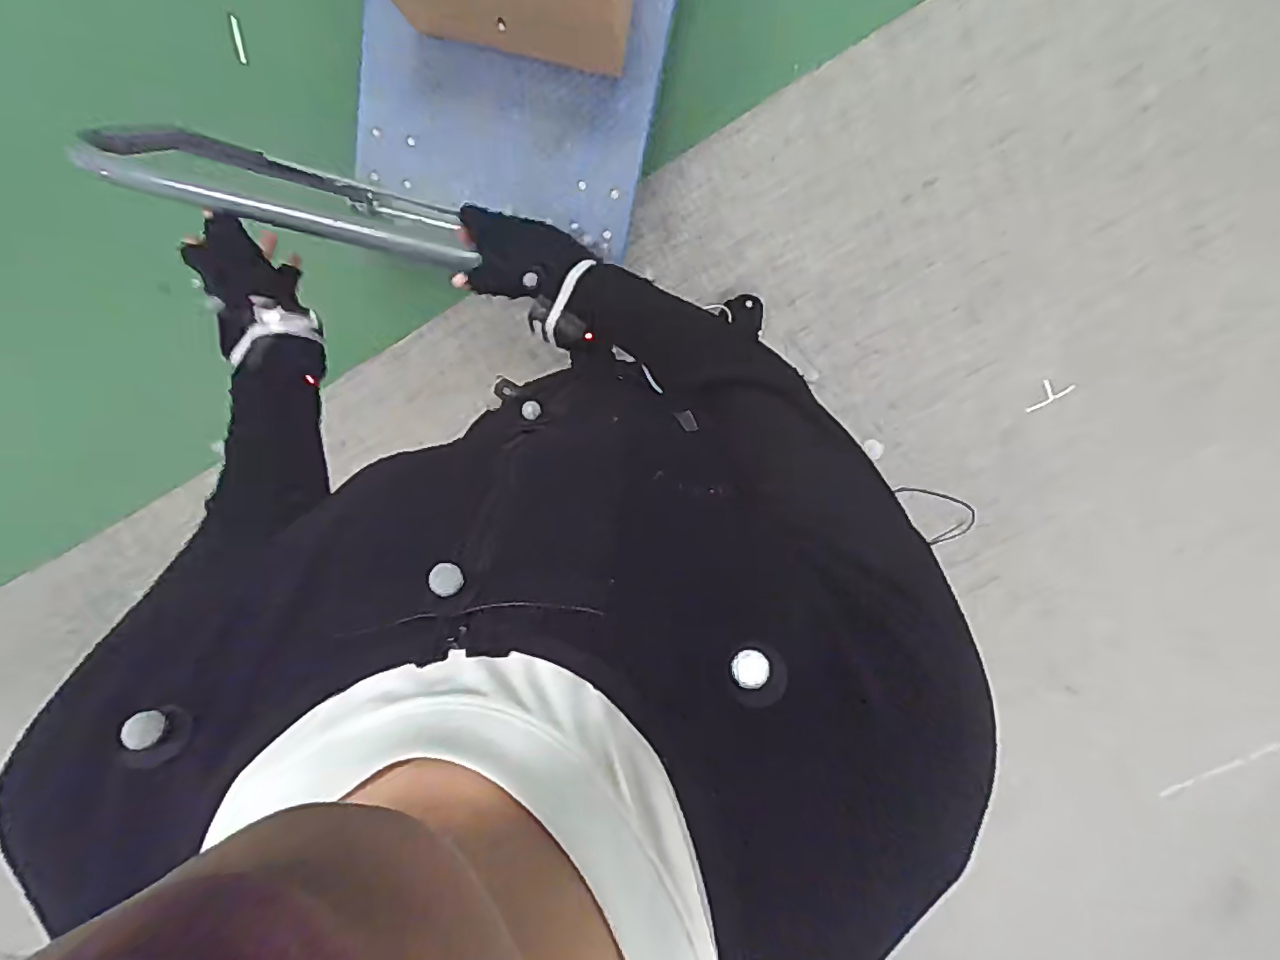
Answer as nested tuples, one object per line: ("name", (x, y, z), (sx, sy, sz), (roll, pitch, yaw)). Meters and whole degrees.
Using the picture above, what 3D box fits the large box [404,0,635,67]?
("large box", (-0.198, -0.930, 0.861), (0.408, 0.320, 0.320), (11, 107, -3))
